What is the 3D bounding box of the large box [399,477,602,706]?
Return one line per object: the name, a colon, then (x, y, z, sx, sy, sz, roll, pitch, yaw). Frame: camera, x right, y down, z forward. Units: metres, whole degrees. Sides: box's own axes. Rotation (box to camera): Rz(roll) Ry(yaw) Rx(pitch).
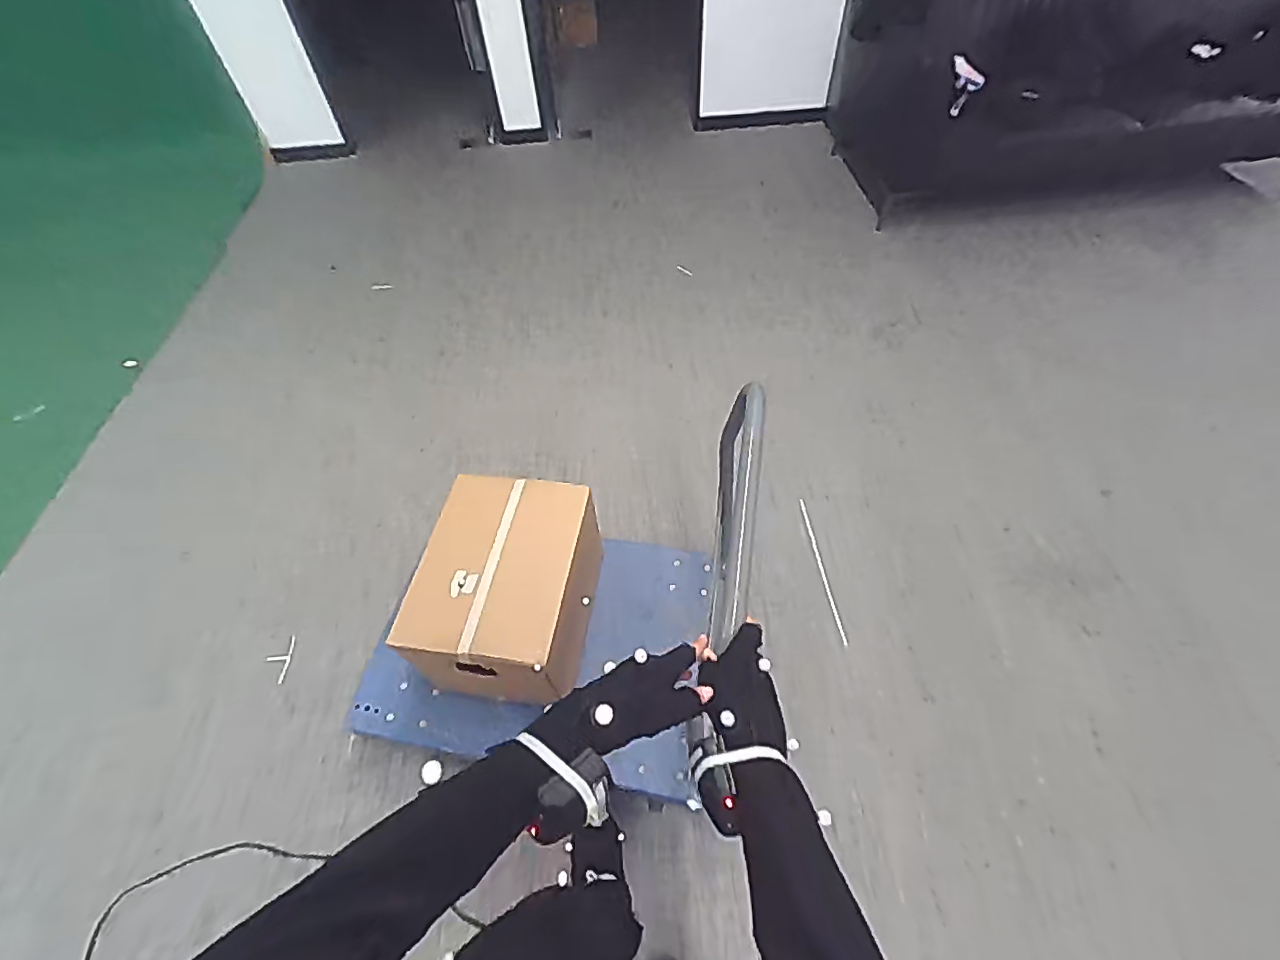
large box: (-0.276, 0.252, 1.232, 0.320, 0.320, 0.408, 6, 54, 7)
